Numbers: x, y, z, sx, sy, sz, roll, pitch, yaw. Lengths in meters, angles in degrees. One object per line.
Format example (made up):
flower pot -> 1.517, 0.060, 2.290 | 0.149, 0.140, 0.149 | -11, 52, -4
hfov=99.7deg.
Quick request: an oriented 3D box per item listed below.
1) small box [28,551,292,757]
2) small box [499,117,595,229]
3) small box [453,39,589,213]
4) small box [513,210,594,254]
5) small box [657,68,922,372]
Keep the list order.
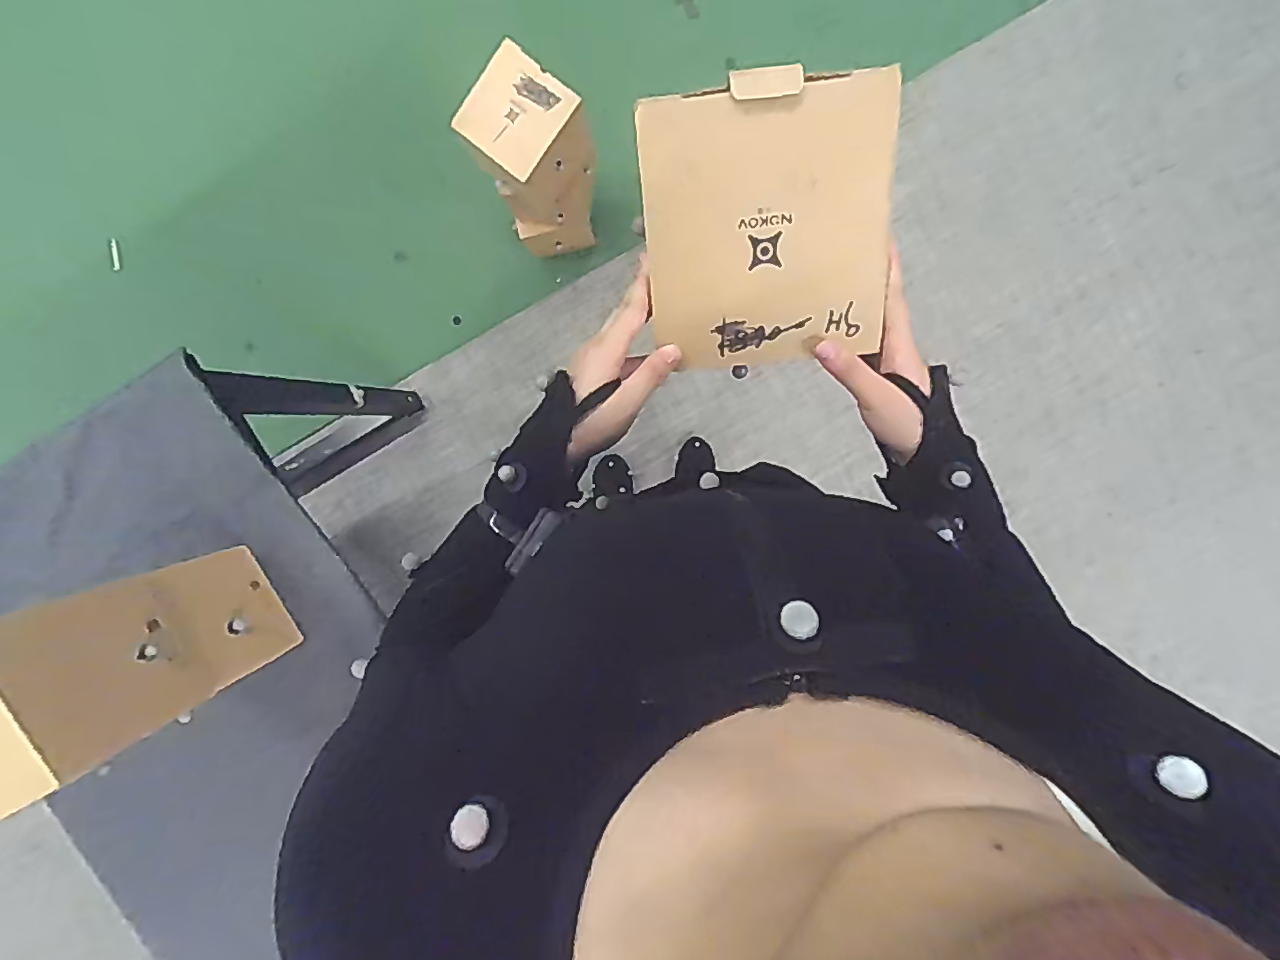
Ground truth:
small box -> -0.608, 0.216, 0.718 | 0.179, 0.176, 0.168 | -29, 95, 7
small box -> -0.194, -0.666, 1.171 | 0.168, 0.176, 0.179 | 8, 96, 0
small box -> -0.209, -0.644, 1.008 | 0.168, 0.176, 0.179 | 38, 97, -3
small box -> -0.217, -0.675, 1.334 | 0.168, 0.176, 0.179 | -12, 96, 3
small box -> 0.101, -0.197, 0.437 | 0.168, 0.176, 0.179 | -4, 115, 5
